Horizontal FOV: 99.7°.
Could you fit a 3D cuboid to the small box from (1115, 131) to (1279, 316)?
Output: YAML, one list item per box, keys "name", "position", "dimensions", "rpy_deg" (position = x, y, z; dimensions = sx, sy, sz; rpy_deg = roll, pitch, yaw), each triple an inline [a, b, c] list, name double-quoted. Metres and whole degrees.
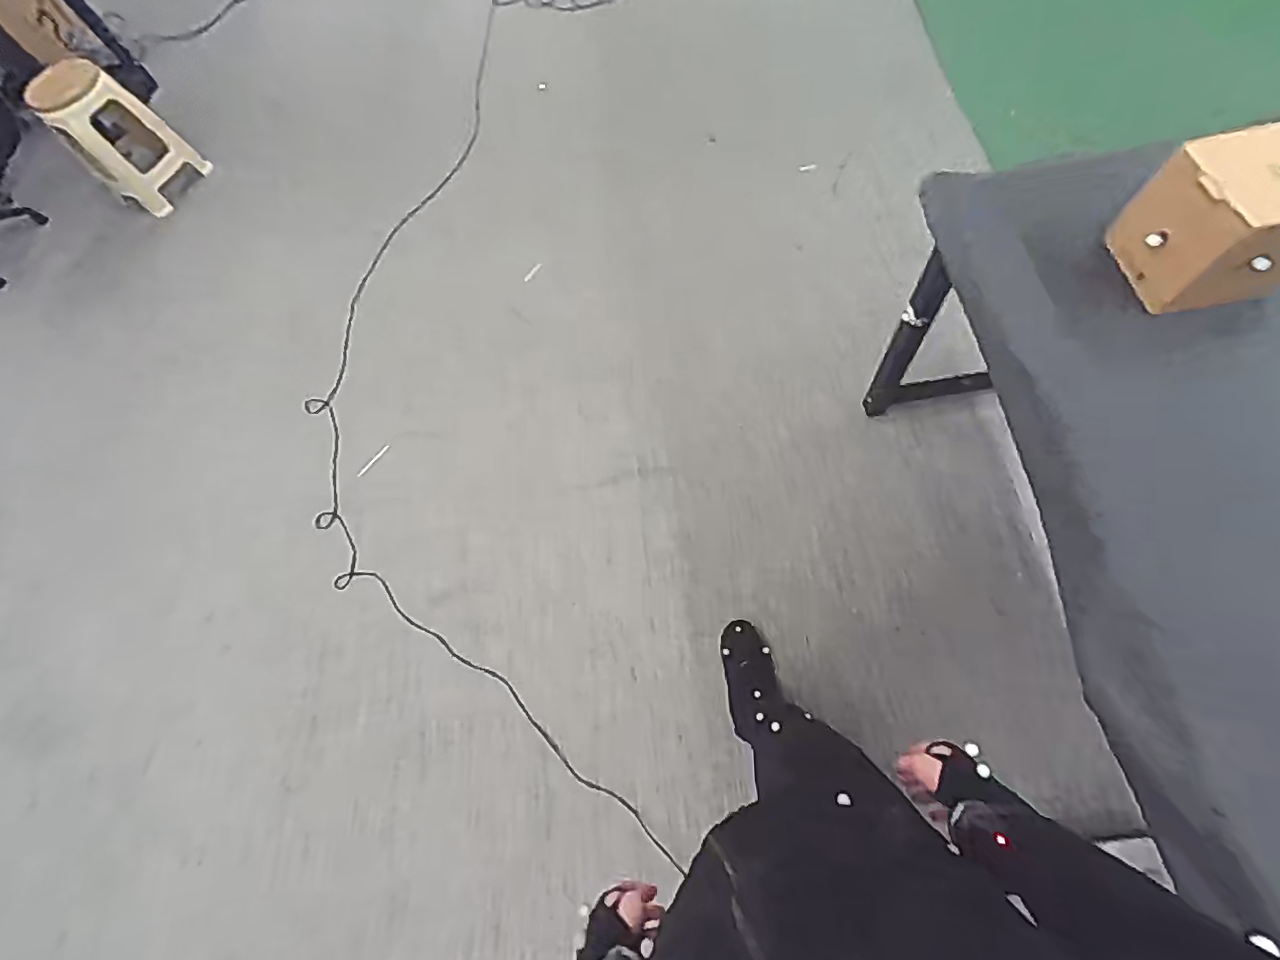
- name: "small box"
  position: [0.843, -0.360, 0.778]
  dimensions: [0.179, 0.176, 0.168]
  rpy_deg: [-10, 67, 5]
